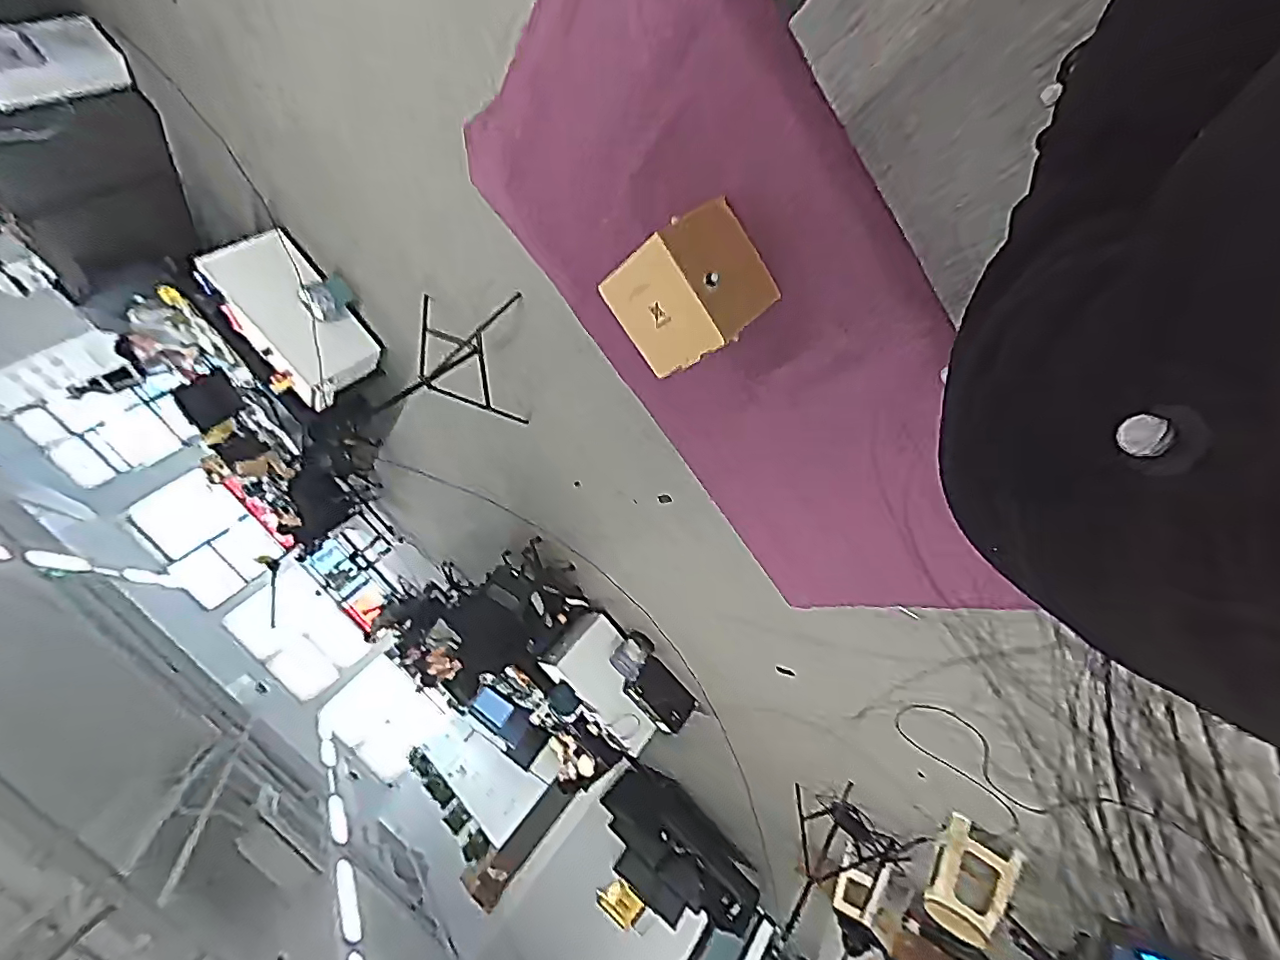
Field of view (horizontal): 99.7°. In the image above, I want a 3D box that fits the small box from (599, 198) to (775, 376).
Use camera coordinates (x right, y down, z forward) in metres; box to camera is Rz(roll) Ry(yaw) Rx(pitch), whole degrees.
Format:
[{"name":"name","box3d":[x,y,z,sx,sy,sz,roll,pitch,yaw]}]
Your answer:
[{"name":"small box","box3d":[0.077,-0.297,0.842,0.179,0.176,0.168,54,148,-13]}]
